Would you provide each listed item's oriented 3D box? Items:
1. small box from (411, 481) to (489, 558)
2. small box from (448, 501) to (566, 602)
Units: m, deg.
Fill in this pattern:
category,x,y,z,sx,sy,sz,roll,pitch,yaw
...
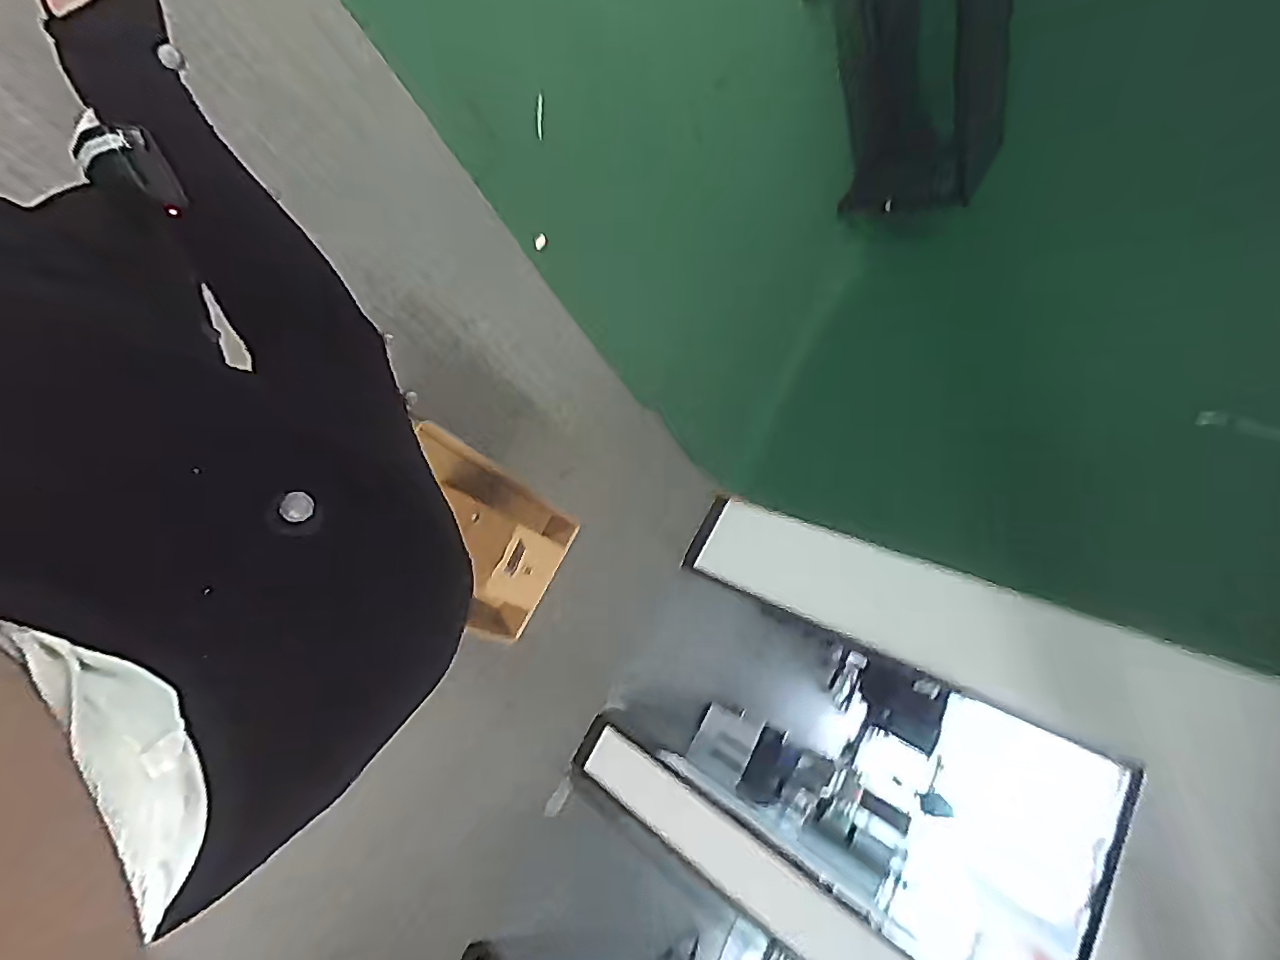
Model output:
category,x,y,z,sx,sy,sz,roll,pitch,yaw
small box,-0.442,0.121,1.384,0.168,0.176,0.179,-61,143,-12
small box,-0.318,0.166,1.286,0.168,0.176,0.179,-62,144,-10
